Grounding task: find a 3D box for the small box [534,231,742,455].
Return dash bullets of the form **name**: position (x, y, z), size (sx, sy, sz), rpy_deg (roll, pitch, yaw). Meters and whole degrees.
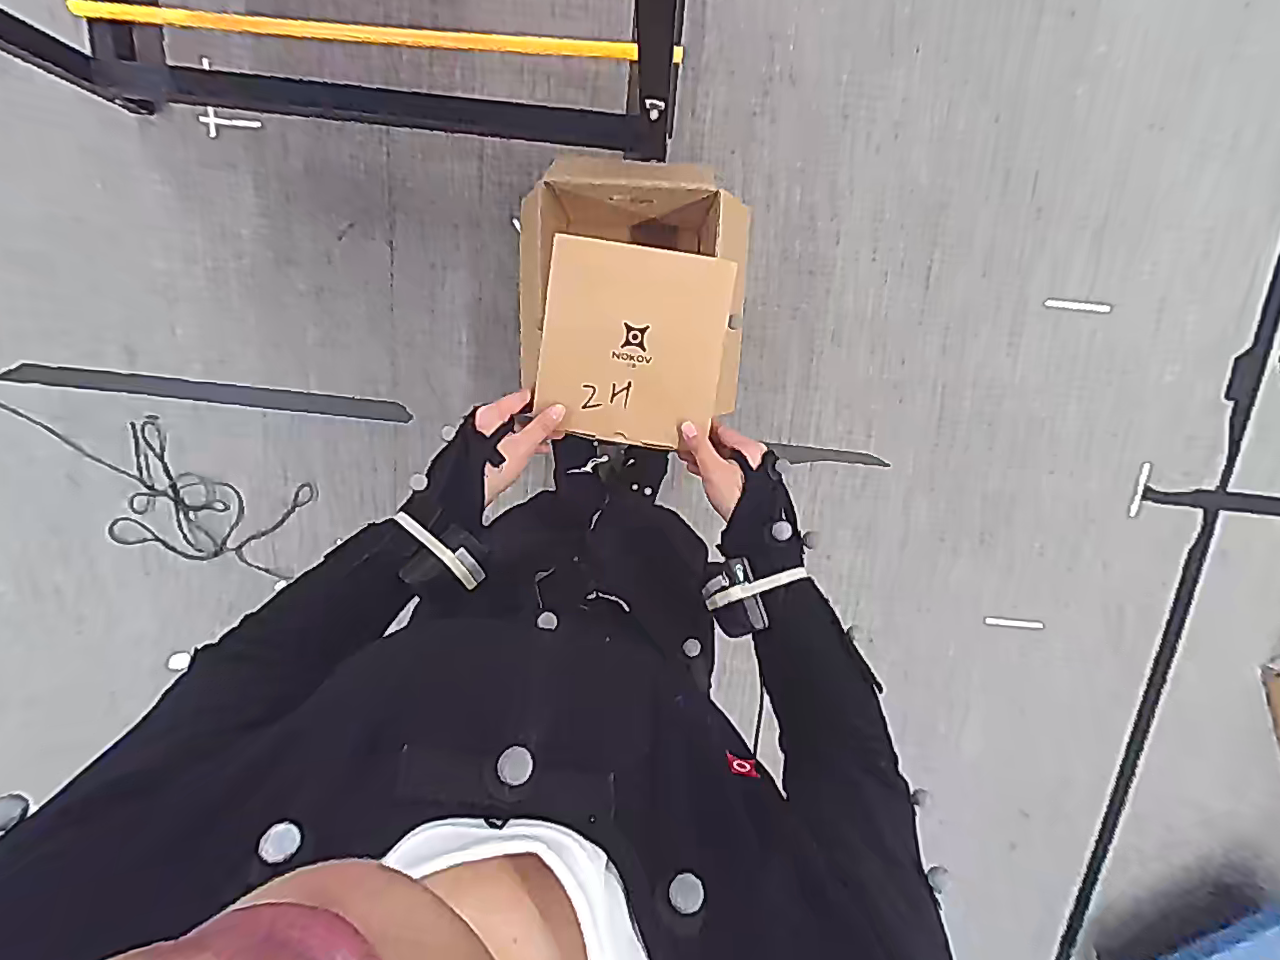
- **small box**: position (-0.003, -0.132, 0.562), size (0.168, 0.176, 0.179), rpy_deg (9, 99, 0)
